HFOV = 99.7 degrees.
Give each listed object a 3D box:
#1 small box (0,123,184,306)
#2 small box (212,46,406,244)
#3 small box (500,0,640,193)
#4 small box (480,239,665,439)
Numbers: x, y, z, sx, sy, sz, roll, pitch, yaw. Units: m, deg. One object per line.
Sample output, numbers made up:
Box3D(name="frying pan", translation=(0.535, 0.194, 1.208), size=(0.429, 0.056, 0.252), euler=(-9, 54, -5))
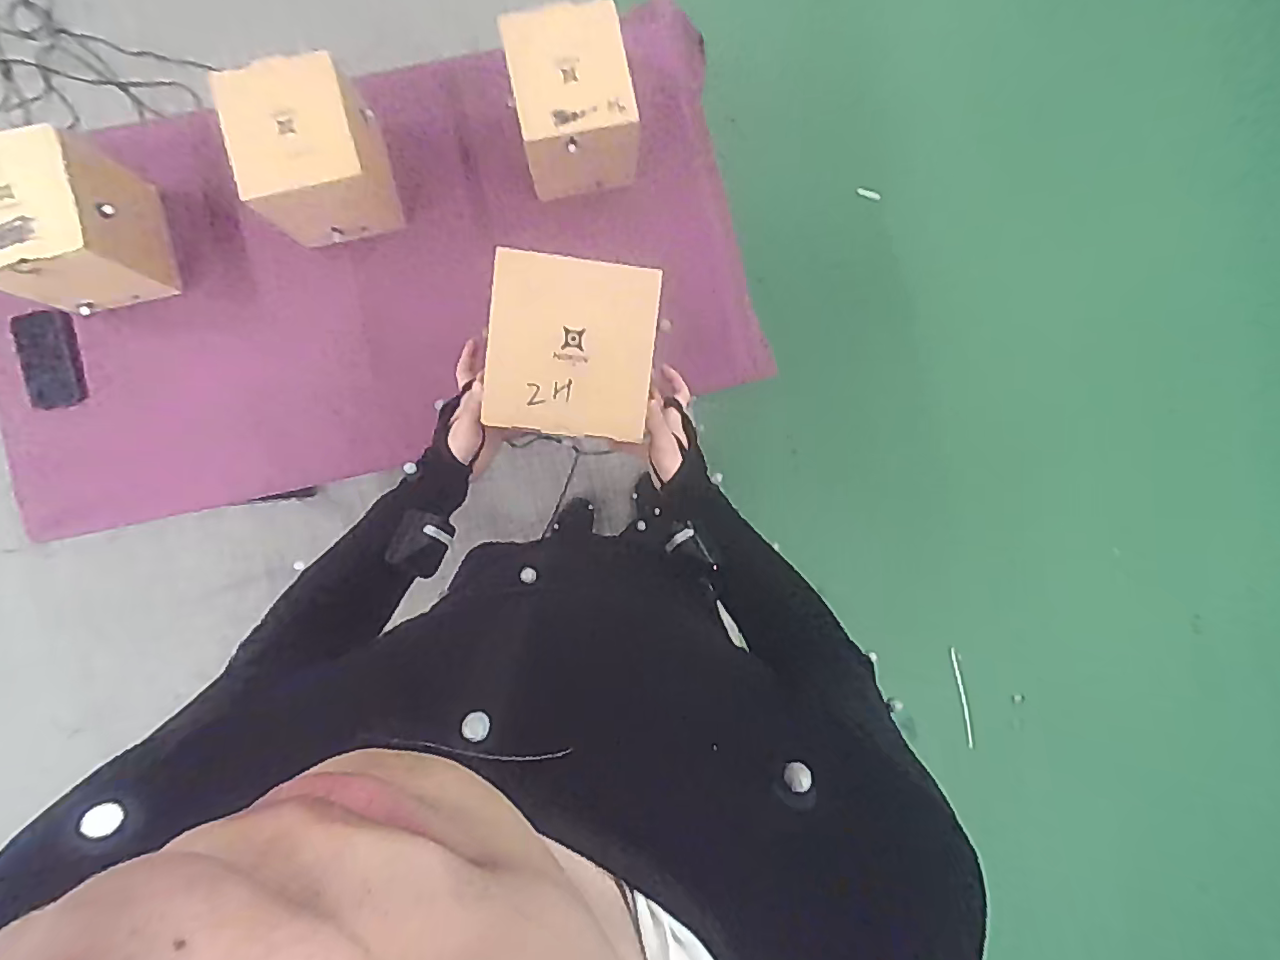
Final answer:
Box3D(name="small box", translation=(-0.824, -0.370, 0.791), size=(0.168, 0.176, 0.179), euler=(-14, 91, -3))
Box3D(name="small box", translation=(-0.477, -0.484, 0.806), size=(0.168, 0.176, 0.179), euler=(-14, 92, -1))
Box3D(name="small box", translation=(-0.099, -0.575, 0.820), size=(0.168, 0.176, 0.179), euler=(-12, 91, -1))
Box3D(name="small box", translation=(-0.071, -0.145, 0.612), size=(0.168, 0.176, 0.179), euler=(7, 96, -3))
